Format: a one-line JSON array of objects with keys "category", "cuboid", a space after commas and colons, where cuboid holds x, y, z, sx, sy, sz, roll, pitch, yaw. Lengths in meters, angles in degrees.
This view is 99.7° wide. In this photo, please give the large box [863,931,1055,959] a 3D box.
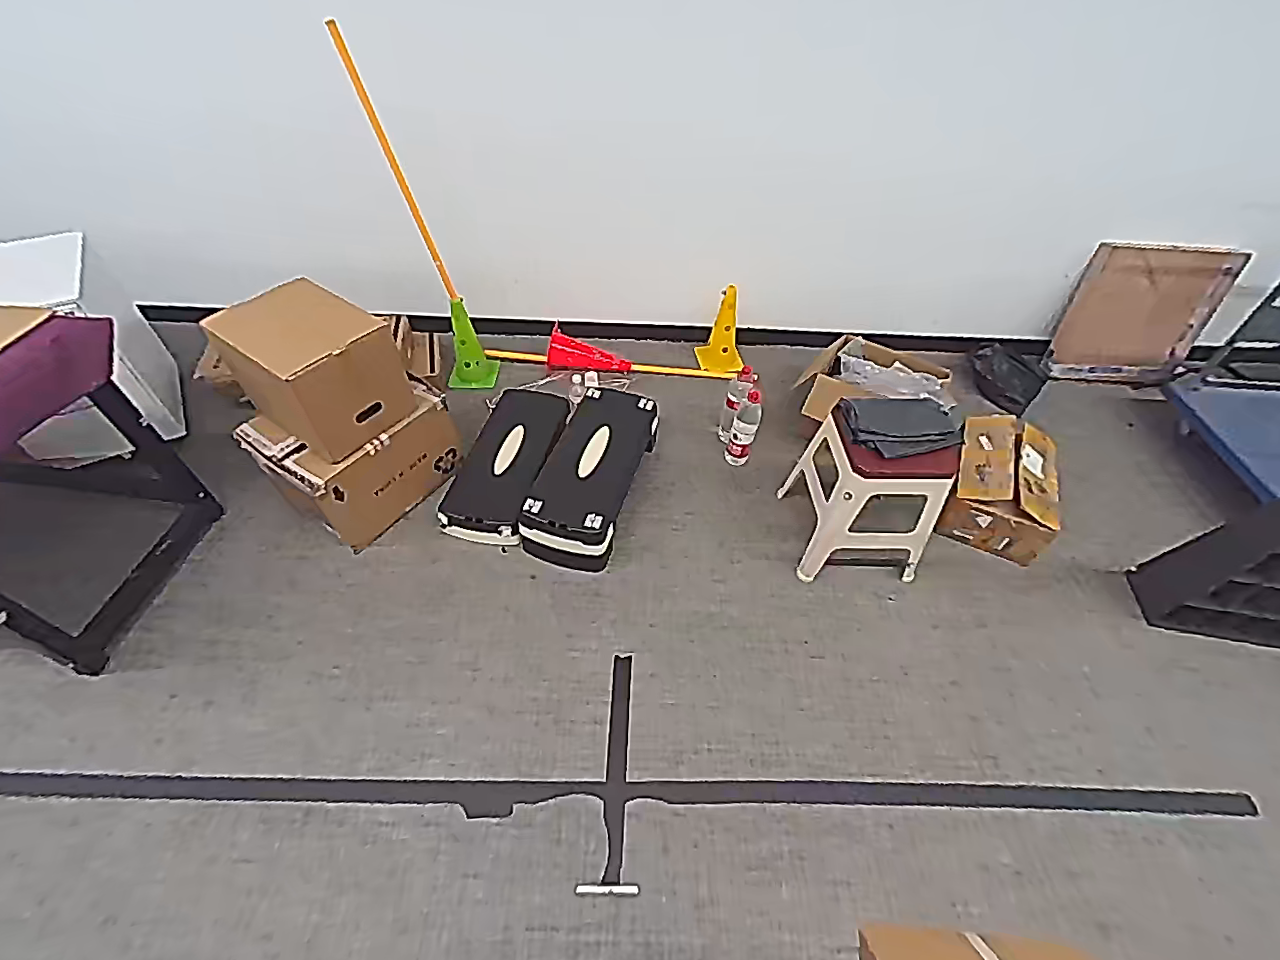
[{"category": "large box", "cuboid": [0.451, 0.783, 0.560, 0.320, 0.408, 0.320, 4, 79, 5]}]
